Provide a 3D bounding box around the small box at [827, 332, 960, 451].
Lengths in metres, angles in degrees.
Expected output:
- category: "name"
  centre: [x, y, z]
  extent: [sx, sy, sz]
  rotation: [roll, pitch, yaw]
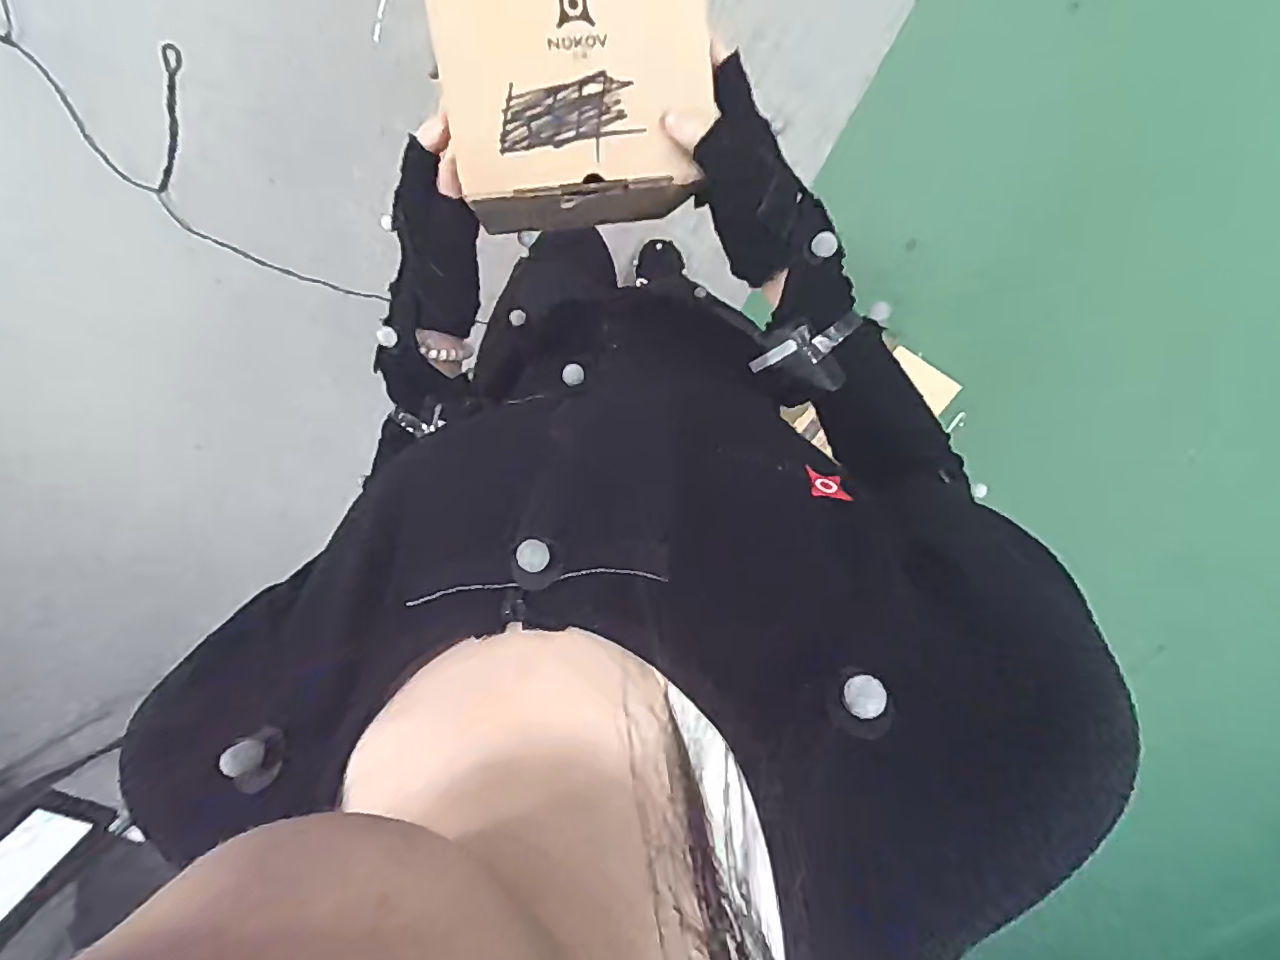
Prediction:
- category: "small box"
  centre: [0.535, -0.198, 1.172]
  extent: [0.168, 0.176, 0.179]
  rotation: [29, 113, -10]
